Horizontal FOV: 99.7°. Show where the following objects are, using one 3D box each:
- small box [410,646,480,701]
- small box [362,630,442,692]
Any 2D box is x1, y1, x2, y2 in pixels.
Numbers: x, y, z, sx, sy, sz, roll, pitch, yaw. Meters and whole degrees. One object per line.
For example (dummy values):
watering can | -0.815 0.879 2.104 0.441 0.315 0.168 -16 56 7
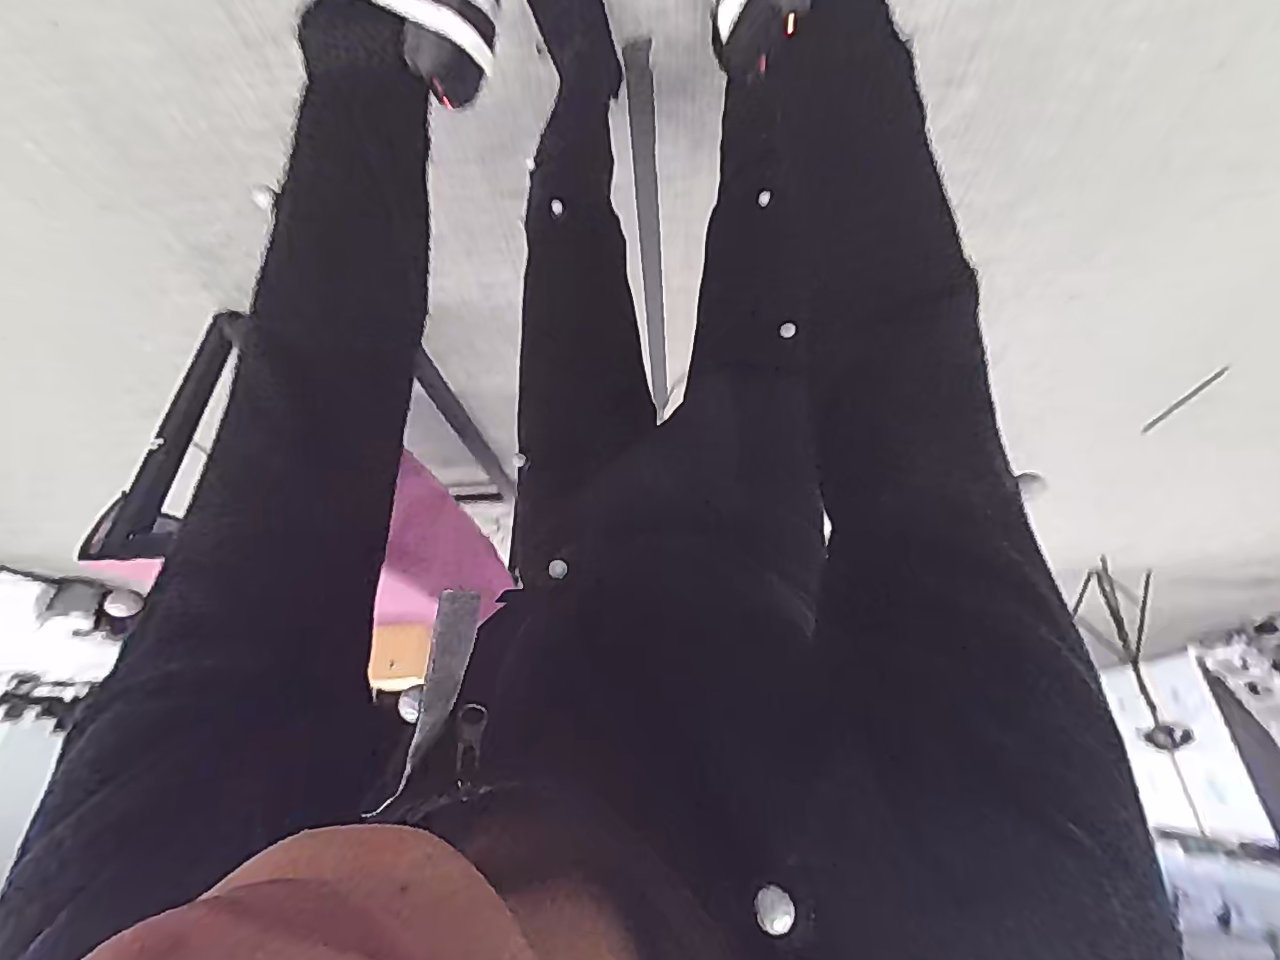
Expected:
small box | -0.711 0.713 1.989 0.179 0.176 0.168 -4 152 8
small box | -0.759 0.586 1.750 0.179 0.176 0.168 -4 151 6
